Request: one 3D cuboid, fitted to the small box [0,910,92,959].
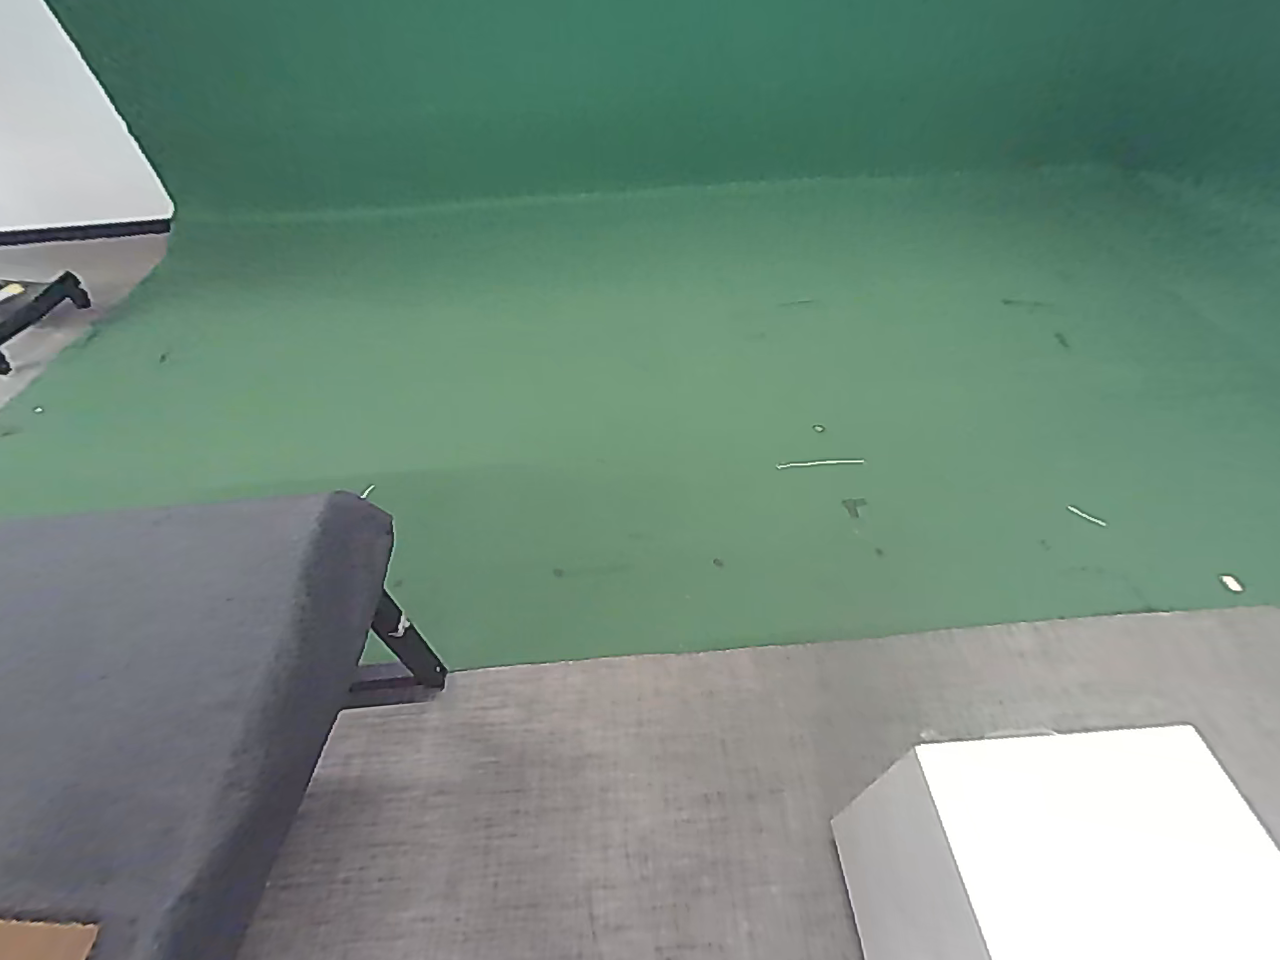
[{"bbox_3d":[-0.643,0.473,0.453,0.168,0.176,0.179,-3,49,2],"label":"small box"}]
